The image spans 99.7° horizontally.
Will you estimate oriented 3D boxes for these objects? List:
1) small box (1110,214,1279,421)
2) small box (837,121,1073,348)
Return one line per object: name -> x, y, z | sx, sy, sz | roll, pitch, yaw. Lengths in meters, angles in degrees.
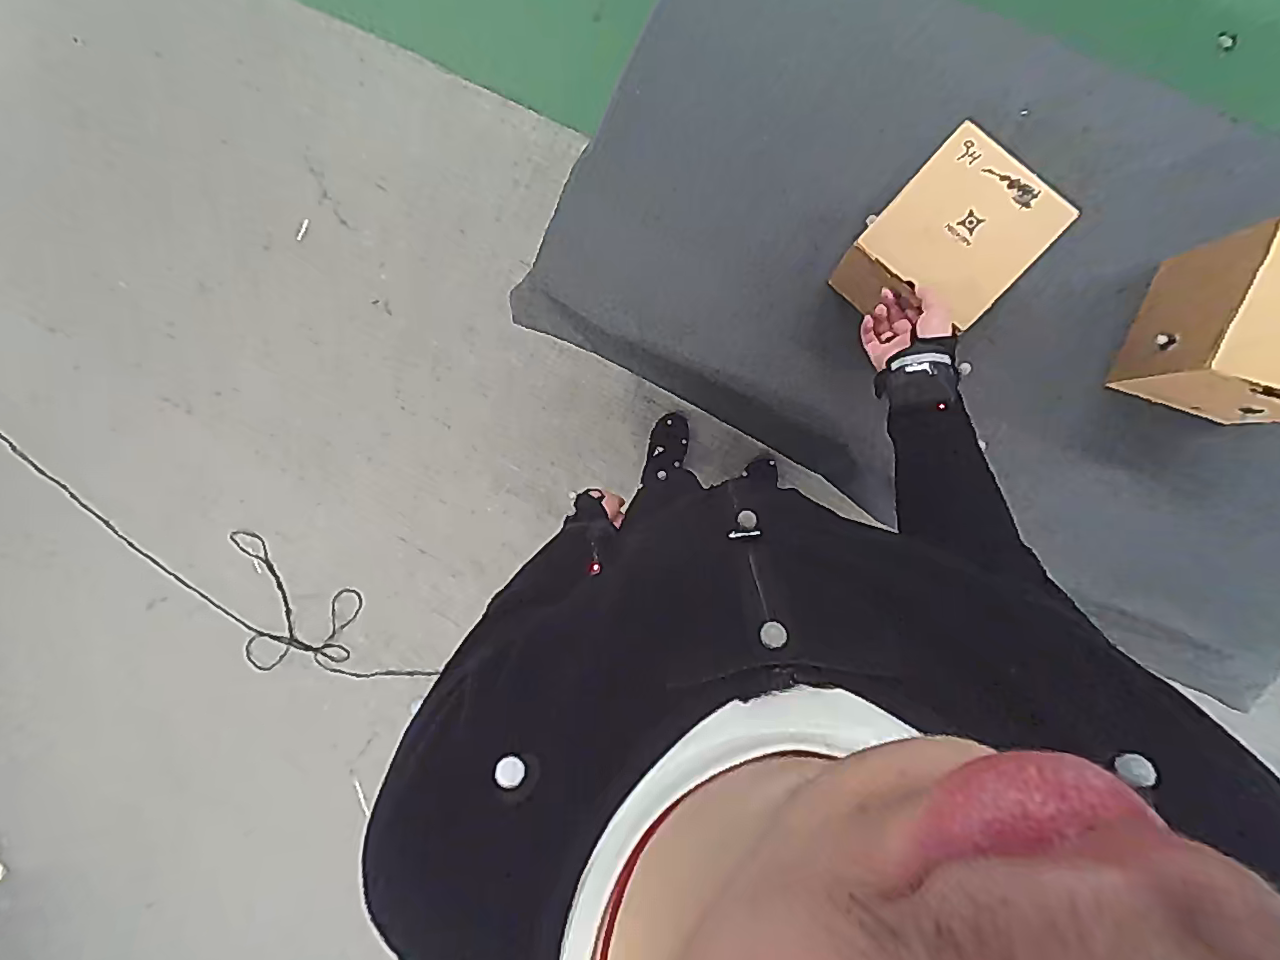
small box -> 0.728, -0.178, 0.650 | 0.168, 0.176, 0.179 | 21, 96, 5
small box -> 0.377, -0.292, 0.693 | 0.168, 0.176, 0.179 | 43, 99, 3
